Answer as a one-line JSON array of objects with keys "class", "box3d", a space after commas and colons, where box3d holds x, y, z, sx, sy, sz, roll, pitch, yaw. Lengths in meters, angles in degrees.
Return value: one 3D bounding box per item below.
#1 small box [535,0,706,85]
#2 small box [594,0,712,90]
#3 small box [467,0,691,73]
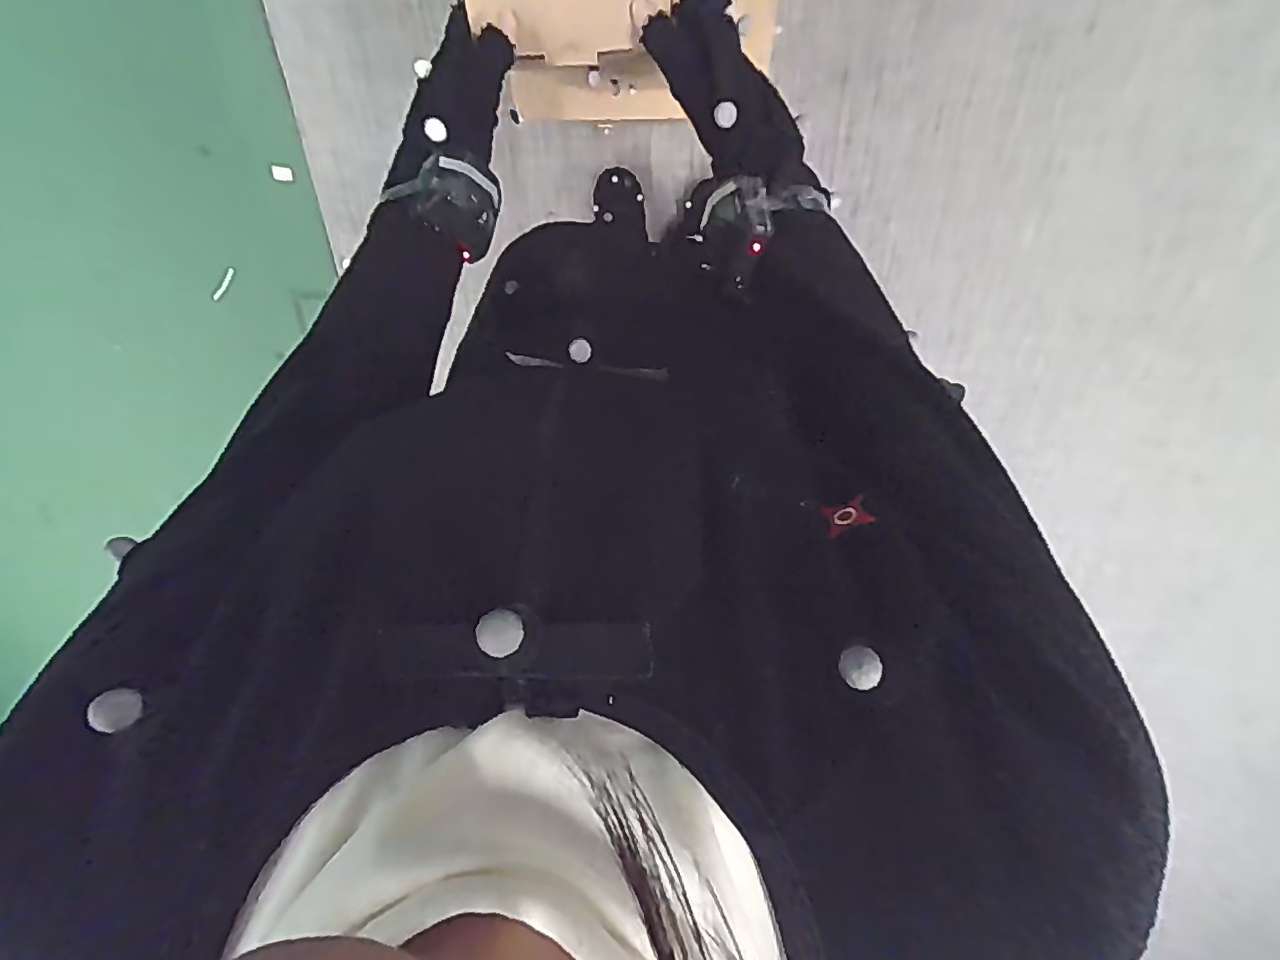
[{"class": "small box", "box3d": [-0.017, -0.542, 0.595, 0.179, 0.176, 0.168, 4, 124, 10]}, {"class": "small box", "box3d": [0.005, -0.635, 0.729, 0.179, 0.176, 0.168, 3, 124, 8]}, {"class": "small box", "box3d": [-0.046, -0.459, 0.458, 0.168, 0.176, 0.179, 2, 125, 10]}]
